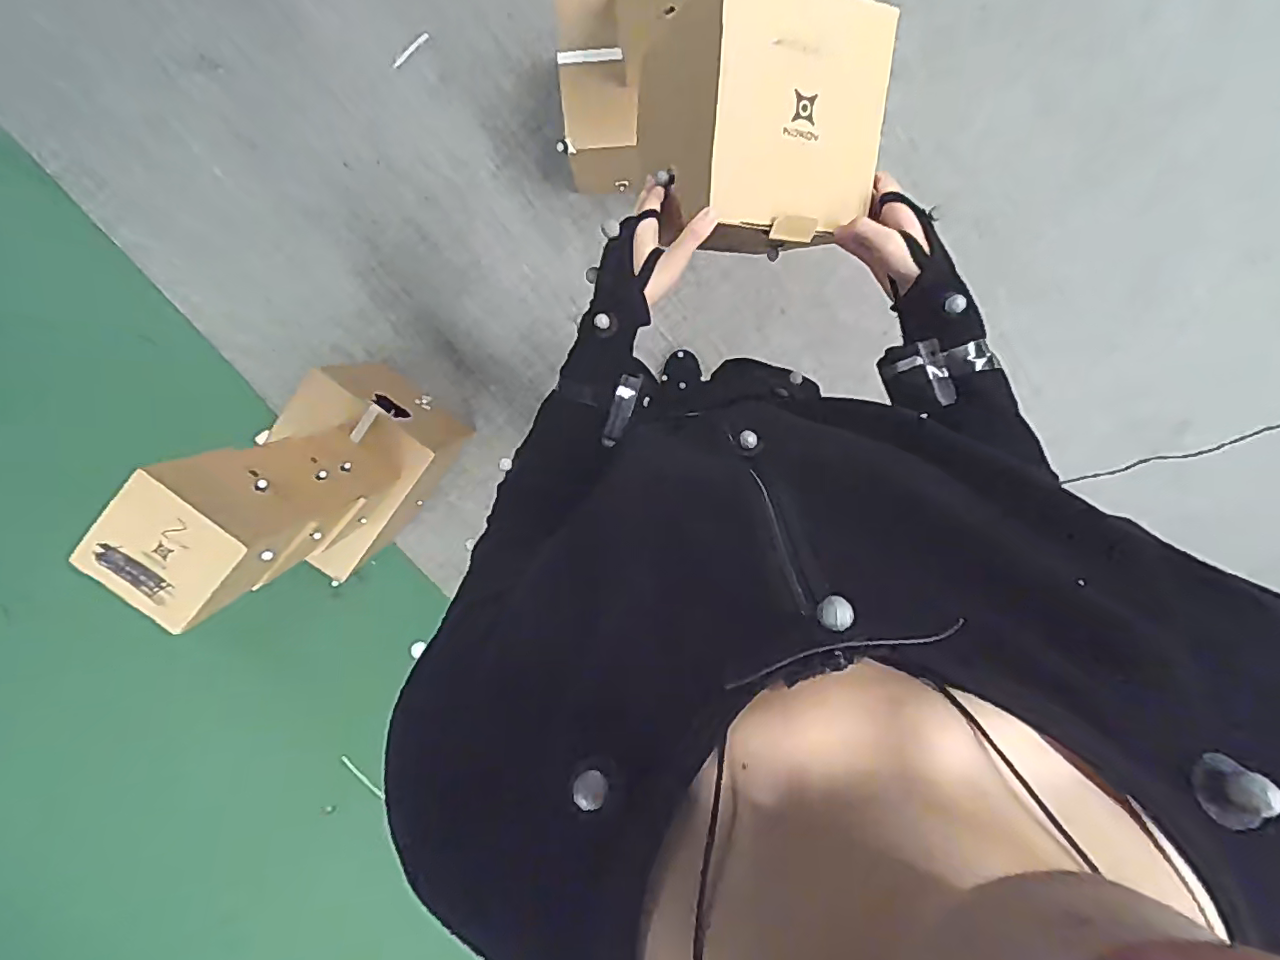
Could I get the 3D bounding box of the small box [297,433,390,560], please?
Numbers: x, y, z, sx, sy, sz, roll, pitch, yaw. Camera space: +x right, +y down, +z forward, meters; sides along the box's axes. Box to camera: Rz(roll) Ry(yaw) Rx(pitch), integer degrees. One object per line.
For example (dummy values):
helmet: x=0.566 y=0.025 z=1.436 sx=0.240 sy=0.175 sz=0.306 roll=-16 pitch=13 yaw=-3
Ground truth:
small box: x=-0.648 y=0.024 z=1.096 sx=0.179 sy=0.176 sz=0.168 roll=43 pitch=98 yaw=-11

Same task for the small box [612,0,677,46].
small box: x=0.045 y=-0.748 z=0.758 sx=0.179 sy=0.176 sz=0.168 roll=-3 pitch=103 yaw=0

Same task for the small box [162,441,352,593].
small box: x=-0.646 y=0.055 z=0.937 sx=0.179 sy=0.176 sz=0.168 roll=-44 pitch=101 yaw=8

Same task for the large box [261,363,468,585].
large box: x=-0.695 y=-0.033 z=1.334 sx=0.320 sy=0.320 sz=0.408 roll=37 pitch=101 yaw=-9

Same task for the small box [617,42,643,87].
small box: x=0.047 y=-0.802 z=0.914 sx=0.179 sy=0.176 sz=0.168 roll=-8 pitch=102 yaw=-1

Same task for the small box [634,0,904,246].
small box: x=0.101 y=-0.320 z=0.497 sx=0.168 sy=0.176 sz=0.179 roll=-5 pitch=108 yaw=-23
